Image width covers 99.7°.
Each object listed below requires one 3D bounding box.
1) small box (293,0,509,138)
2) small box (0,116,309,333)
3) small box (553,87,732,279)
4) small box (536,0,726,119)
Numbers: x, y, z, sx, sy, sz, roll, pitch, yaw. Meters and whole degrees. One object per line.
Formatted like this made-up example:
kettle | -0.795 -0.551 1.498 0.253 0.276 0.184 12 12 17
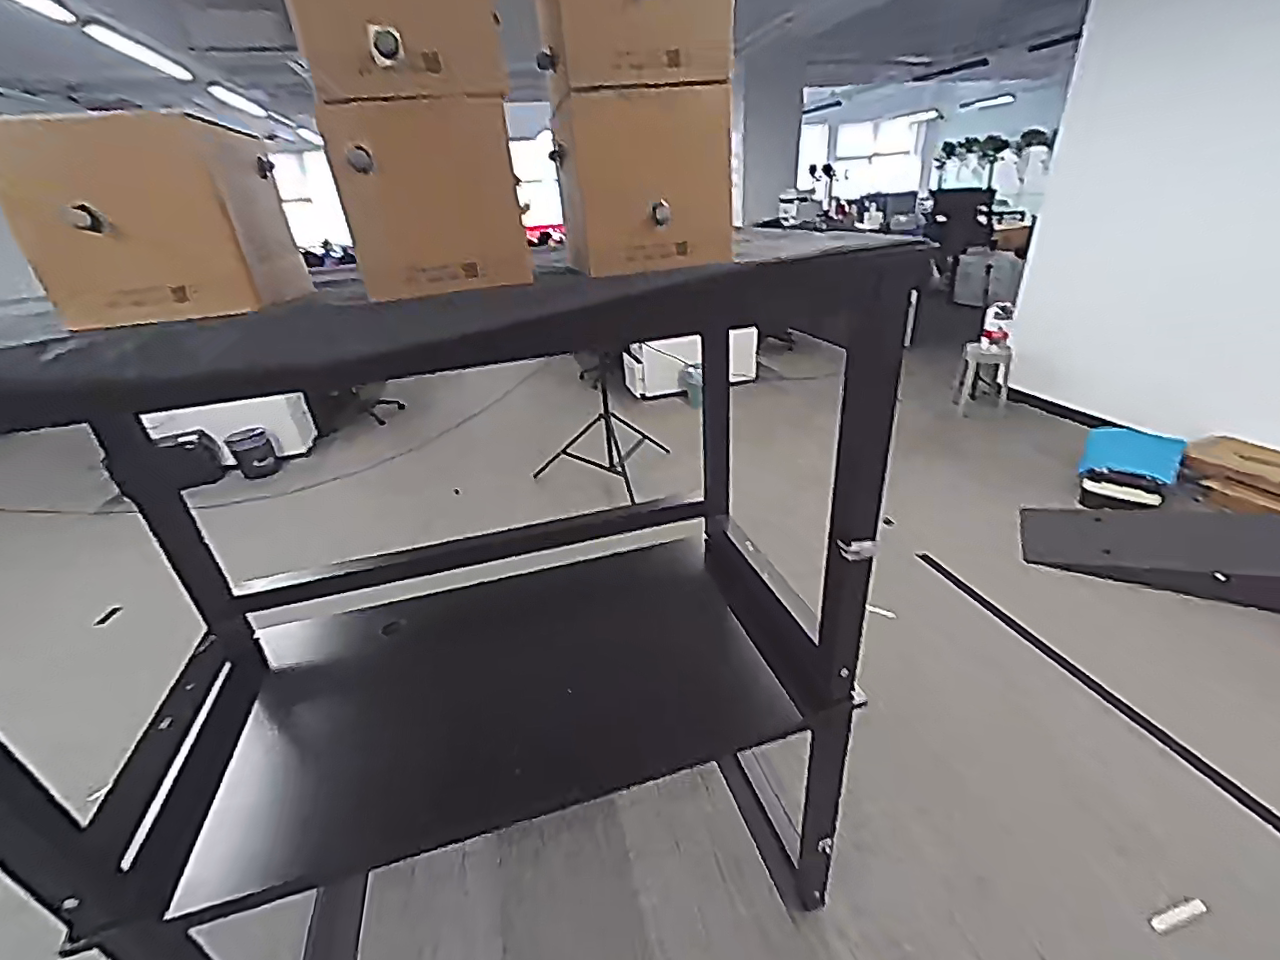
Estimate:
small box | -0.228 -0.442 0.523 0.168 0.176 0.179 -13 27 -12
small box | -0.469 -0.250 0.548 0.168 0.176 0.179 -10 26 -10
small box | -0.002 -0.333 0.628 0.168 0.176 0.179 -12 27 -10
small box | -0.014 -0.481 0.556 0.168 0.176 0.179 -10 28 -10
